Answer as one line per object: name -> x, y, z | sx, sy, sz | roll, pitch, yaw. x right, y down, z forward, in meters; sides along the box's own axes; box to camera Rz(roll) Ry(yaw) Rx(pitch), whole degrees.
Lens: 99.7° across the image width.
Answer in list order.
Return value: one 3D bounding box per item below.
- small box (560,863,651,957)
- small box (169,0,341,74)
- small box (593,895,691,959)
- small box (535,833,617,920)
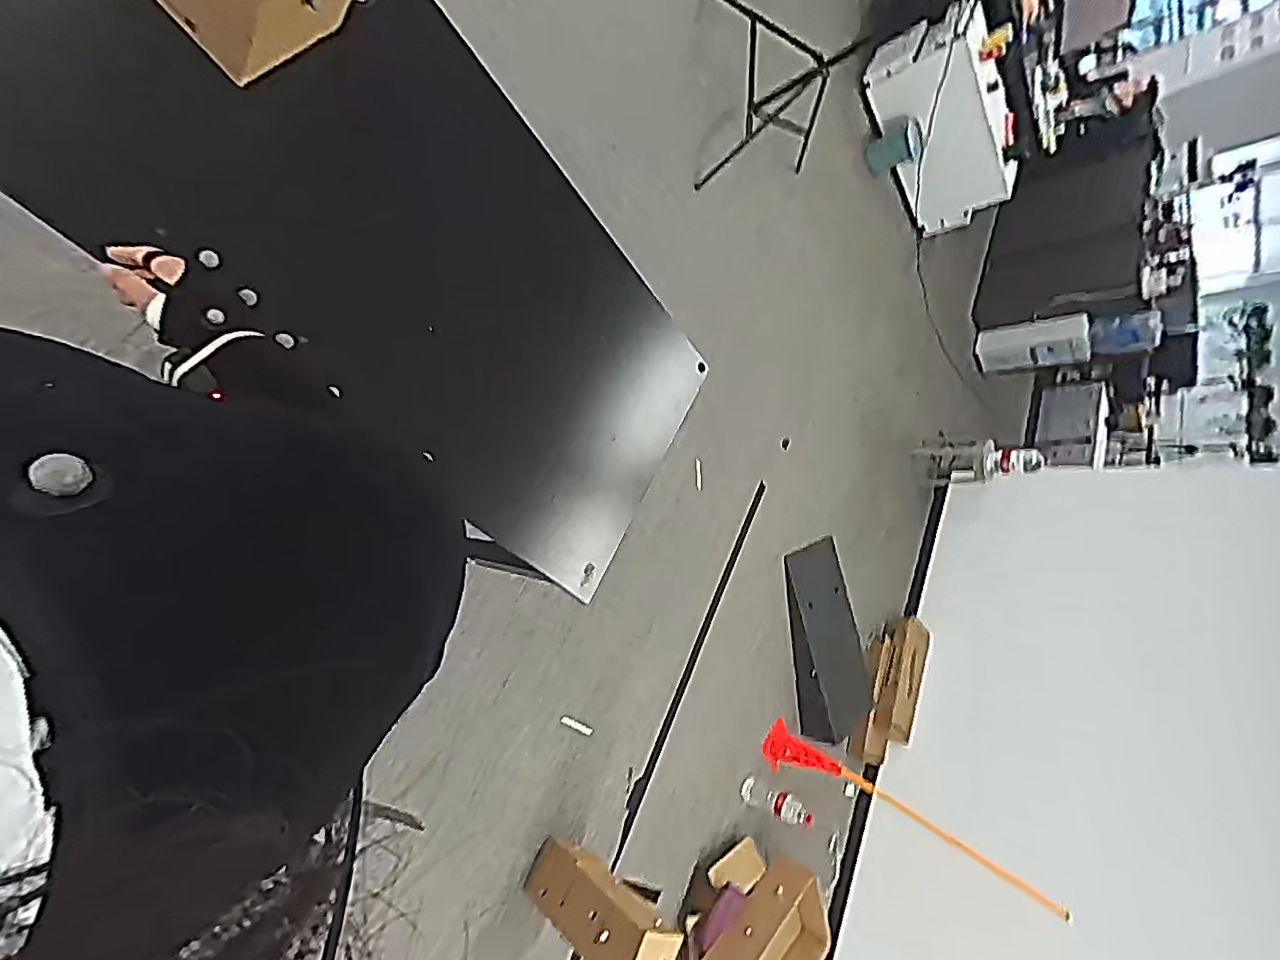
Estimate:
small box -> -0.104, 1.289, 1.624 | 0.179, 0.176, 0.168 | 42, 64, -35
small box -> -0.432, -0.590, 0.578 | 0.168, 0.176, 0.179 | 47, 60, -32
small box -> 0.004, 1.294, 1.499 | 0.179, 0.176, 0.168 | 41, 64, -33
small box -> -0.212, 1.288, 1.747 | 0.168, 0.176, 0.179 | 43, 62, -34
